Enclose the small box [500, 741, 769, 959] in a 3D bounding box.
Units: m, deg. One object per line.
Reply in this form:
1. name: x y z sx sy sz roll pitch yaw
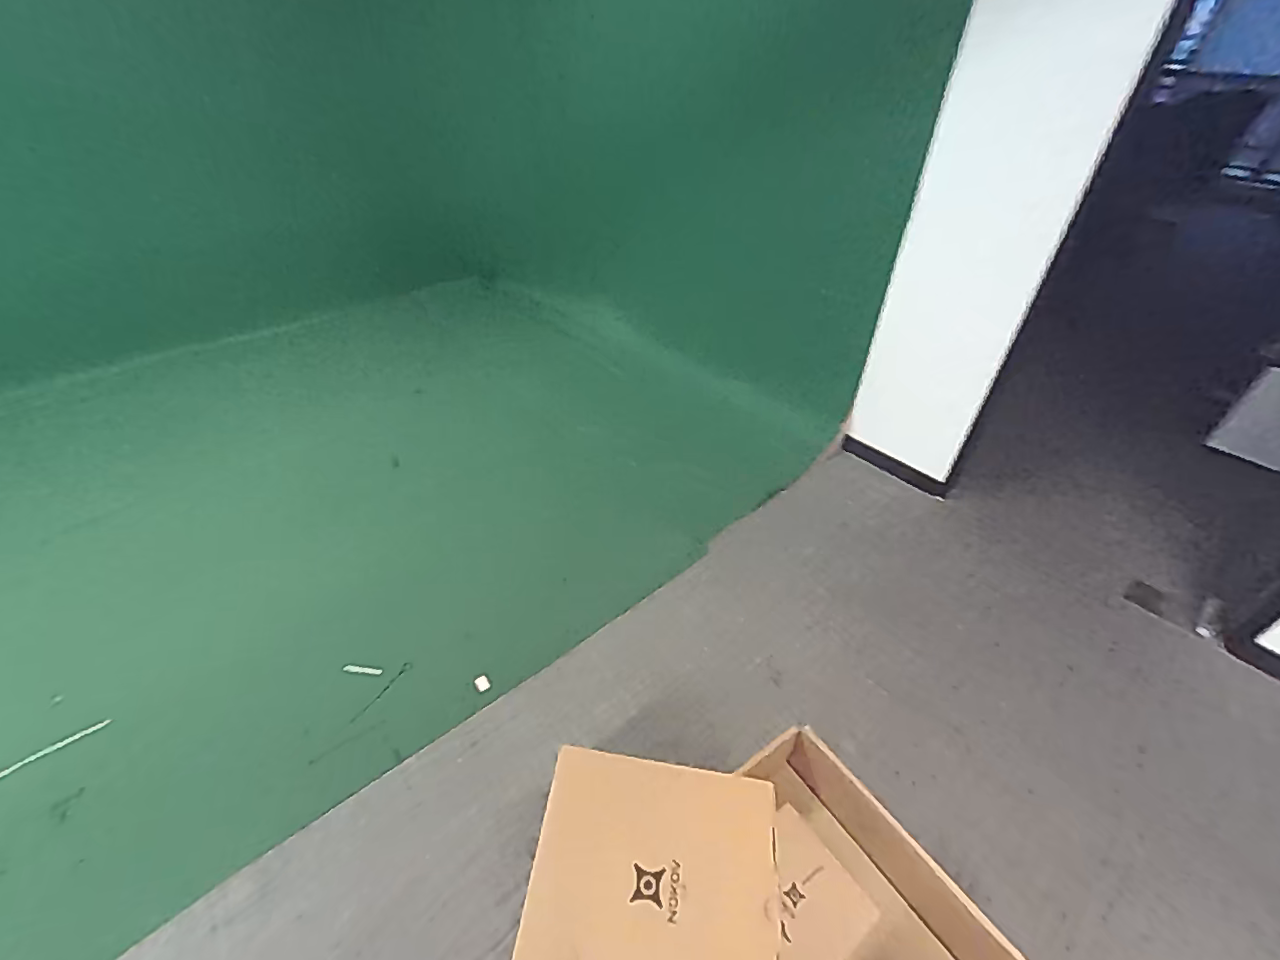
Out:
1. small box: -0.002 0.339 0.437 0.179 0.176 0.168 10 45 2
